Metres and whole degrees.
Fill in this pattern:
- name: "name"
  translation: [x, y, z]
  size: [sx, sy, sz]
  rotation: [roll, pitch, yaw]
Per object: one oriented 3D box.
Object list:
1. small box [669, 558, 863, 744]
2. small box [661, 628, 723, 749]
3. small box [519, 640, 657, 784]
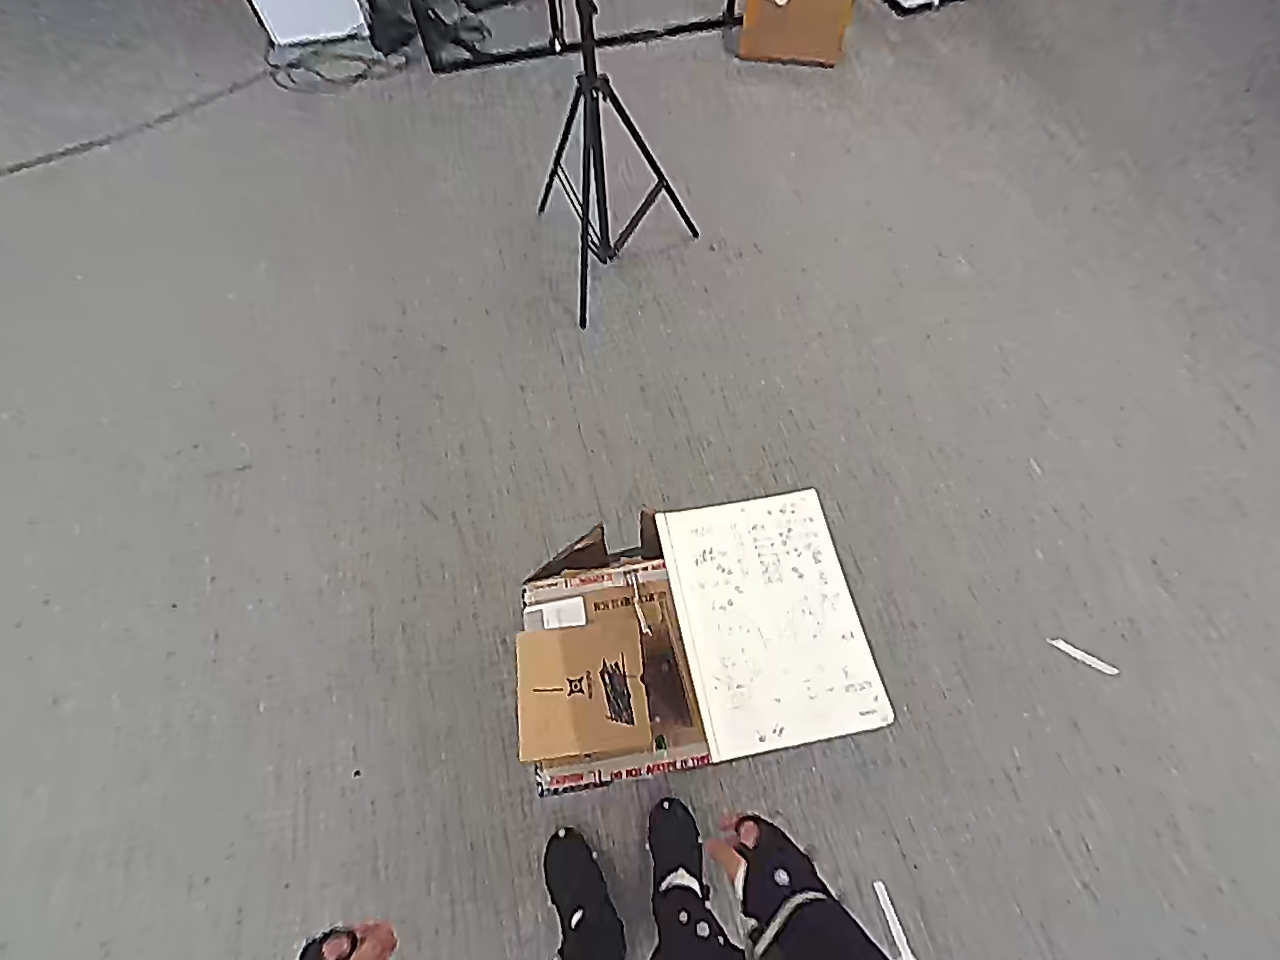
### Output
- name: "small box"
  translation: [0.139, 0.217, 0.674]
  size: [0.168, 0.176, 0.179]
  rotation: [-12, 67, -7]
- name: "small box"
  translation: [0.139, 0.292, 0.818]
  size: [0.179, 0.176, 0.168]
  rotation: [-14, 66, -7]
- name: "small box"
  translation: [-0.072, 0.337, 0.796]
  size: [0.179, 0.176, 0.168]
  rotation: [-7, 66, -1]
